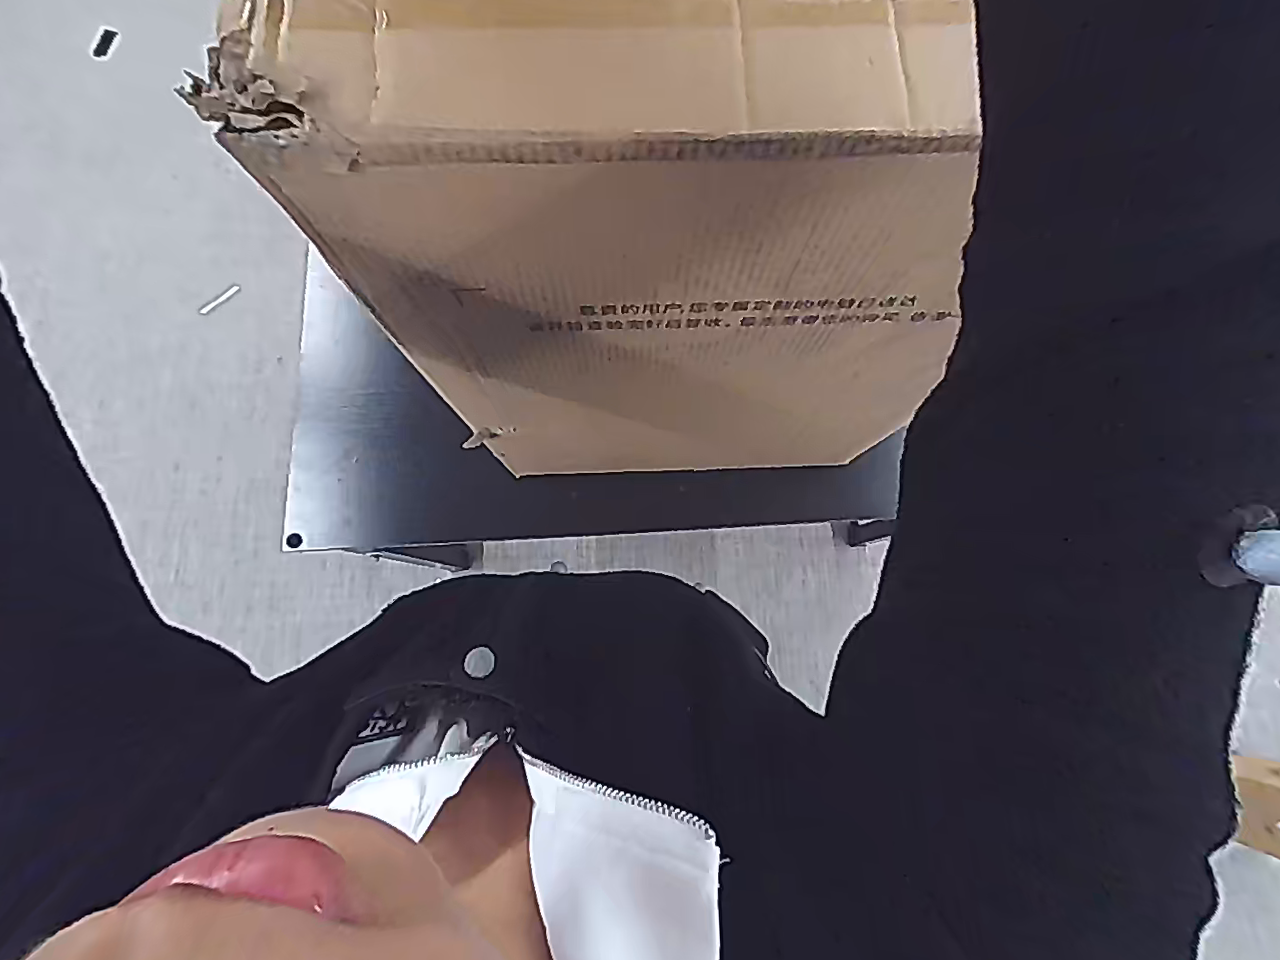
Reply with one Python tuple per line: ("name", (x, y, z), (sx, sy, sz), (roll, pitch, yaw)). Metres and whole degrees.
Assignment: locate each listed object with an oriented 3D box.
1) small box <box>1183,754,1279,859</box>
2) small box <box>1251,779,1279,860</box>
("small box", (1.521, 0.797, 1.342), (0.168, 0.176, 0.179), (-6, 78, -2))
("small box", (1.525, 0.765, 1.181), (0.179, 0.176, 0.168), (-3, 77, -1))
